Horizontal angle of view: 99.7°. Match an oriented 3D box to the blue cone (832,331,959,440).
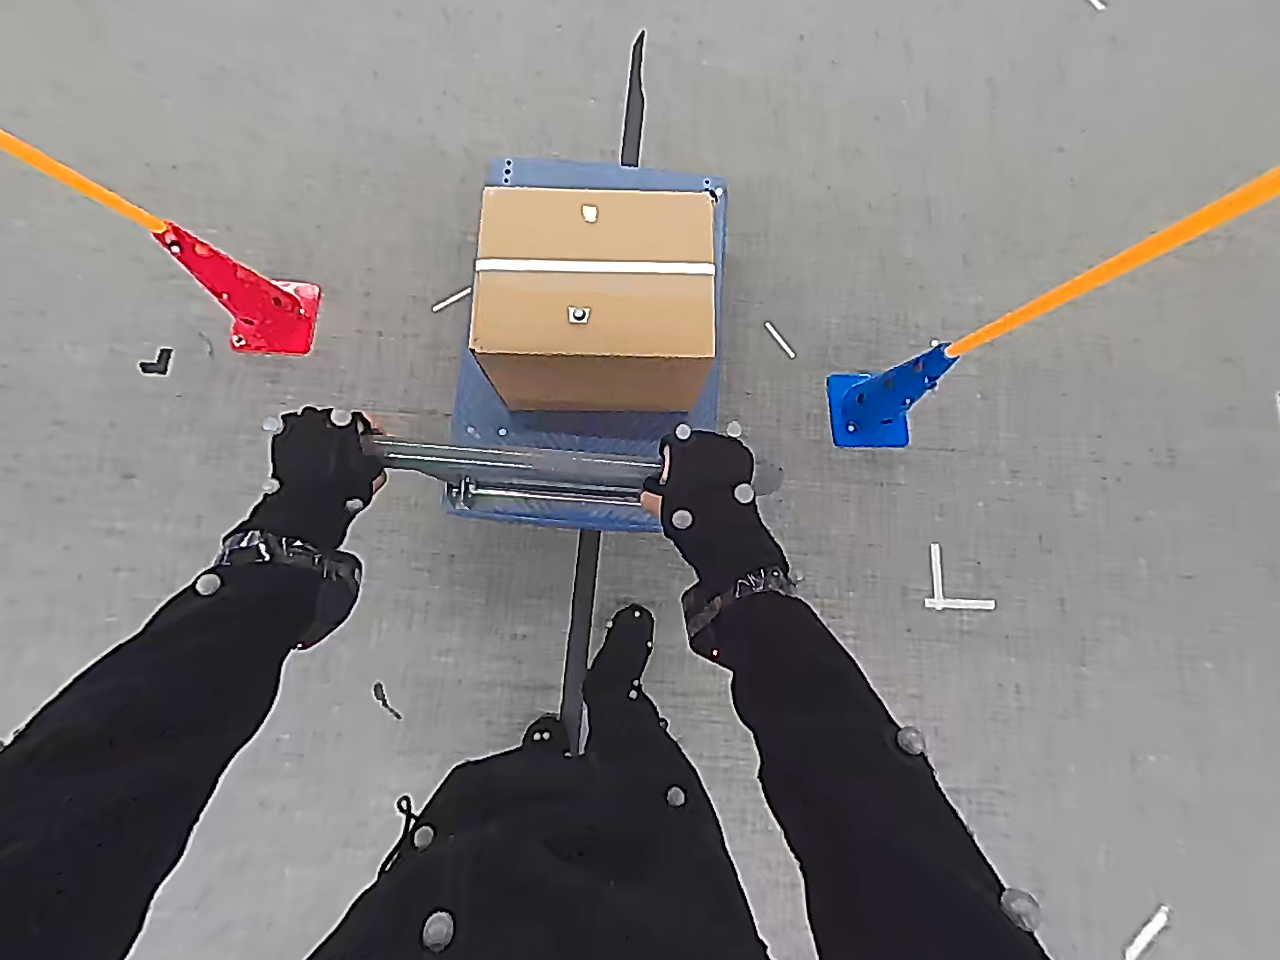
[{"bbox_3d":[0.604,-0.228,1.239,0.193,0.380,0.192,1,78,-3],"label":"blue cone"}]
